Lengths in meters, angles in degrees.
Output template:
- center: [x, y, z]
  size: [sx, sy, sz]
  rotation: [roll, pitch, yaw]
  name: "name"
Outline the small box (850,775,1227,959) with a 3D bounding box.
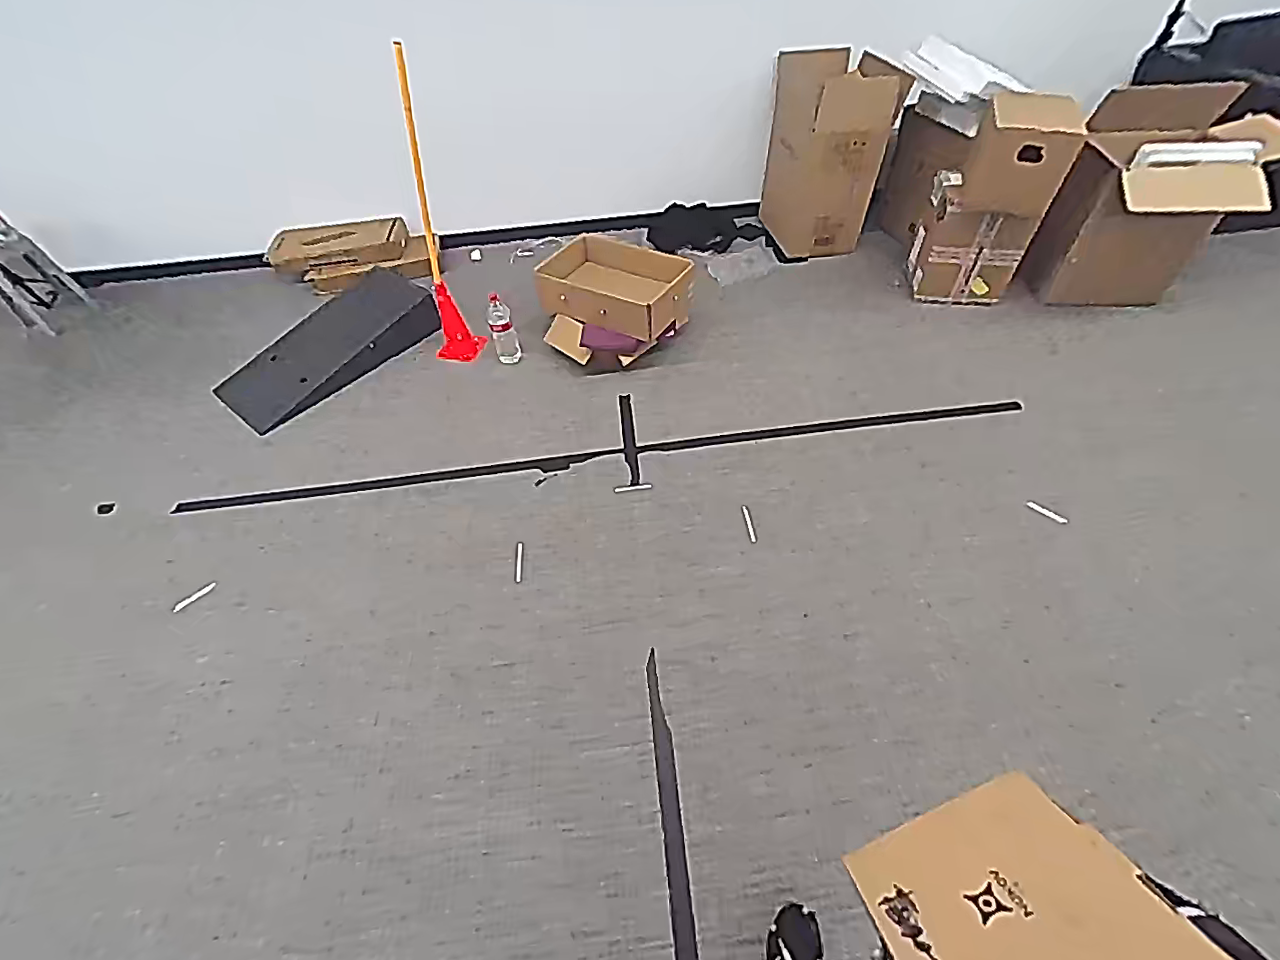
- center: [0.301, 0.381, 0.413]
  size: [0.179, 0.176, 0.168]
  rotation: [-26, 9, 0]
  name: "small box"
